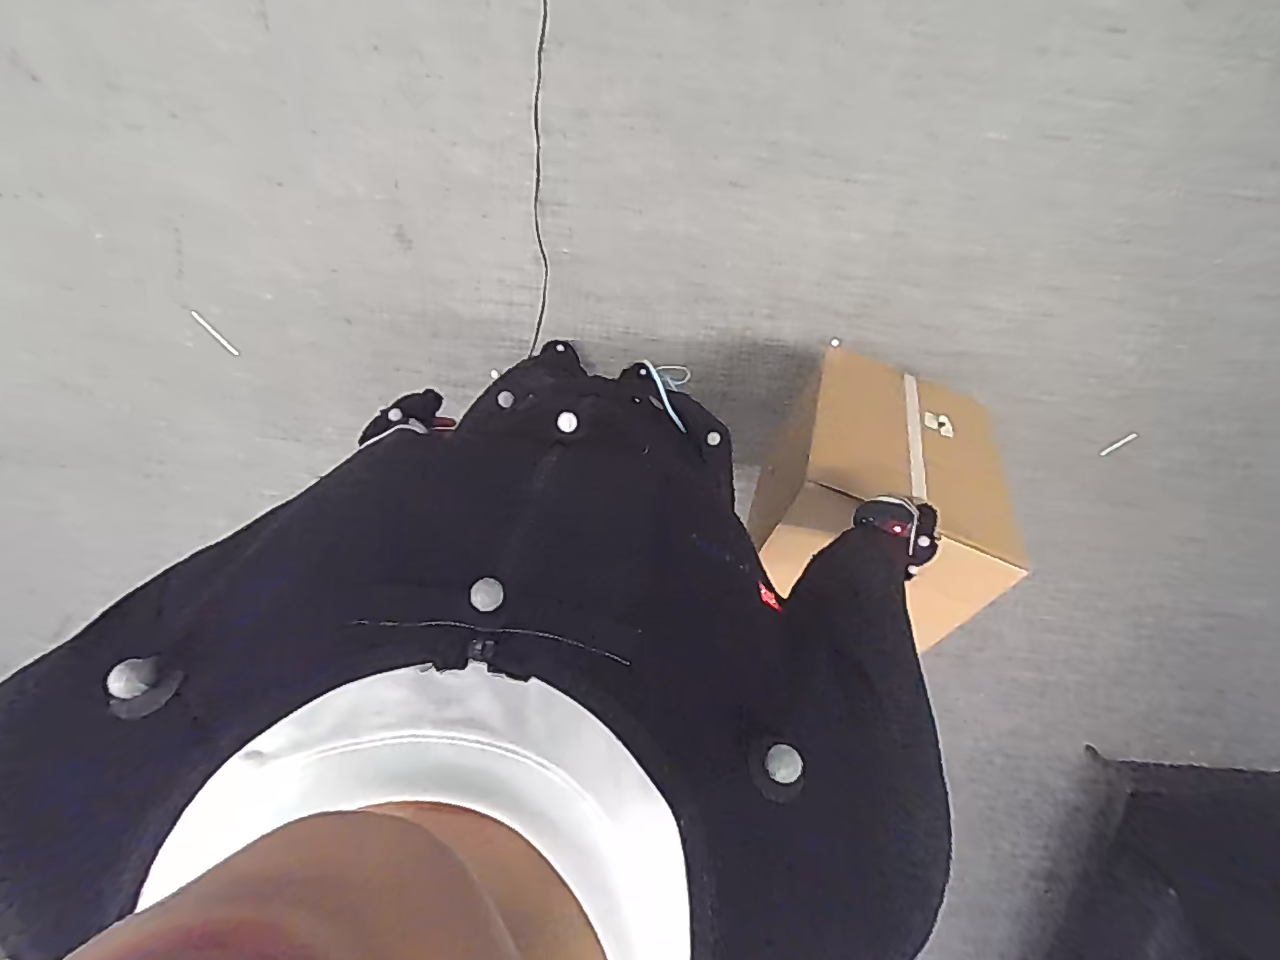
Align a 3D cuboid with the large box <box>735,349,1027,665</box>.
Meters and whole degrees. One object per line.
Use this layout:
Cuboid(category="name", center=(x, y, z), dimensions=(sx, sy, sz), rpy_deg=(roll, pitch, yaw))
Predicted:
Cuboid(category="large box", center=(0.392, 0.038, 0.958), dimensions=(0.320, 0.408, 0.320), rpy_deg=(24, 134, 3))
